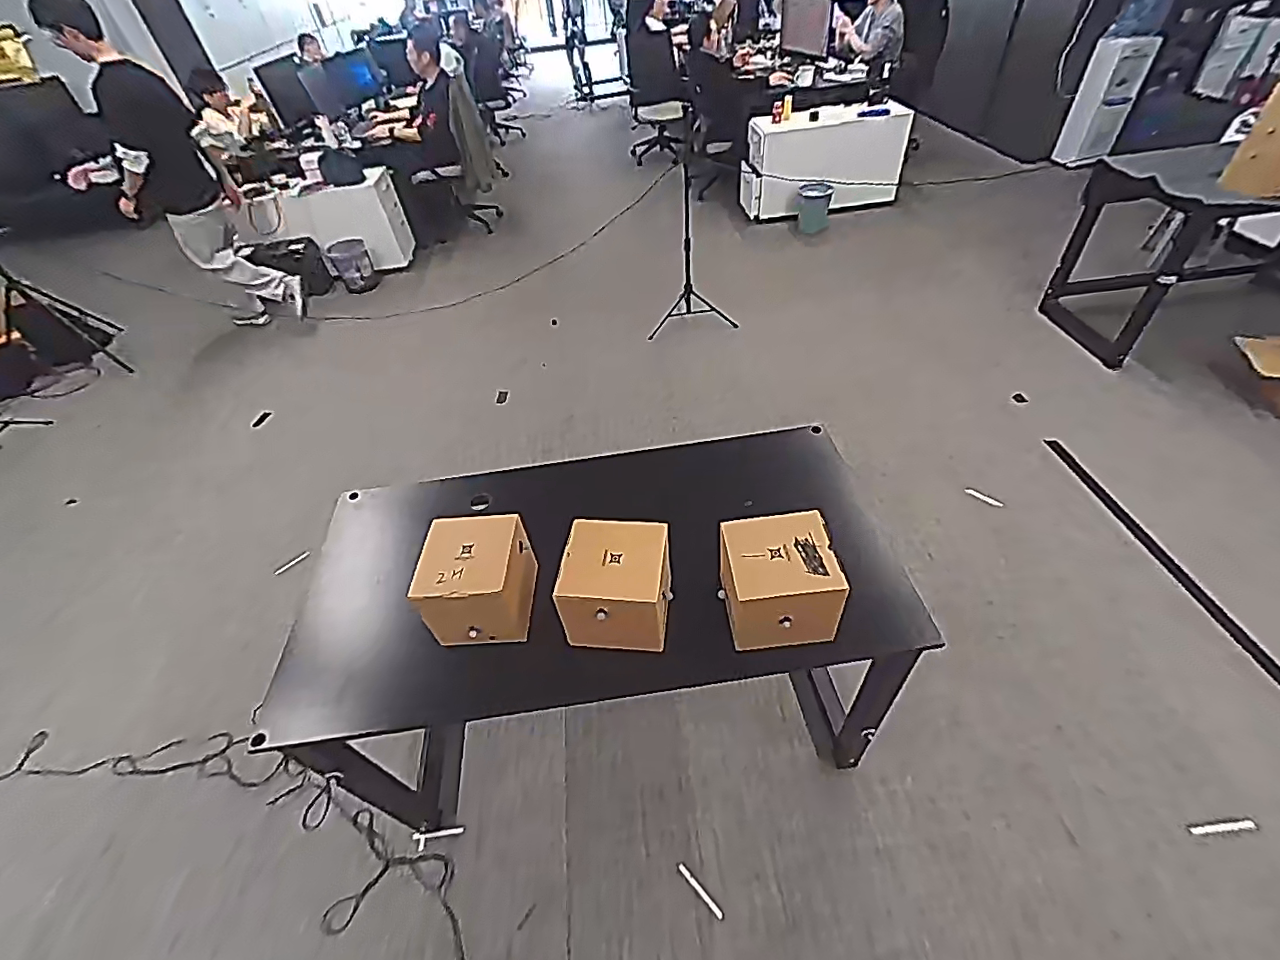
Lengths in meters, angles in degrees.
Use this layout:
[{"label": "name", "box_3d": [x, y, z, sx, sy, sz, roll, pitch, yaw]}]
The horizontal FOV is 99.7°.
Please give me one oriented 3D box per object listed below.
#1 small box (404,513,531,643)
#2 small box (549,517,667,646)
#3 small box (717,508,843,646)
[{"label": "small box", "box_3d": [-0.307, 0.183, 1.009, 0.168, 0.176, 0.179, -4, 46, 4]}, {"label": "small box", "box_3d": [-0.047, 0.186, 0.977, 0.179, 0.176, 0.168, 1, 46, 9]}, {"label": "small box", "box_3d": [0.233, 0.173, 0.950, 0.179, 0.176, 0.168, -8, 45, 2]}]
